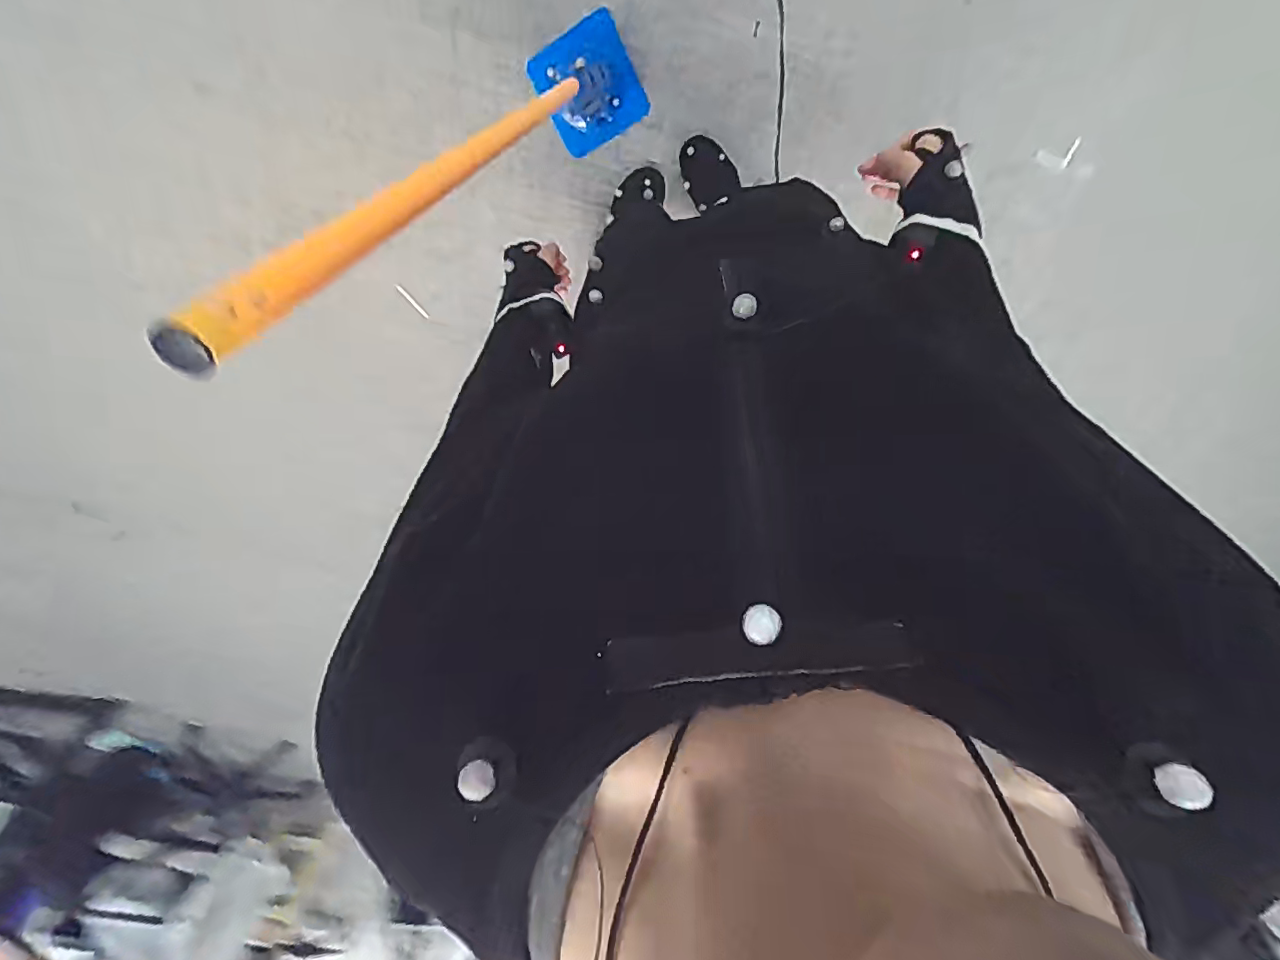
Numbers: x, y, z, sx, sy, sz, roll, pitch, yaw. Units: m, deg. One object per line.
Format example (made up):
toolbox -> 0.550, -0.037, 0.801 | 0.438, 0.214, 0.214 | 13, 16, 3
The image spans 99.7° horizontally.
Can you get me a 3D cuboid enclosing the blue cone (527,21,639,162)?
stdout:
blue cone -> -0.117, -0.689, 0.980 | 0.193, 0.380, 0.192 | -25, 122, 18
